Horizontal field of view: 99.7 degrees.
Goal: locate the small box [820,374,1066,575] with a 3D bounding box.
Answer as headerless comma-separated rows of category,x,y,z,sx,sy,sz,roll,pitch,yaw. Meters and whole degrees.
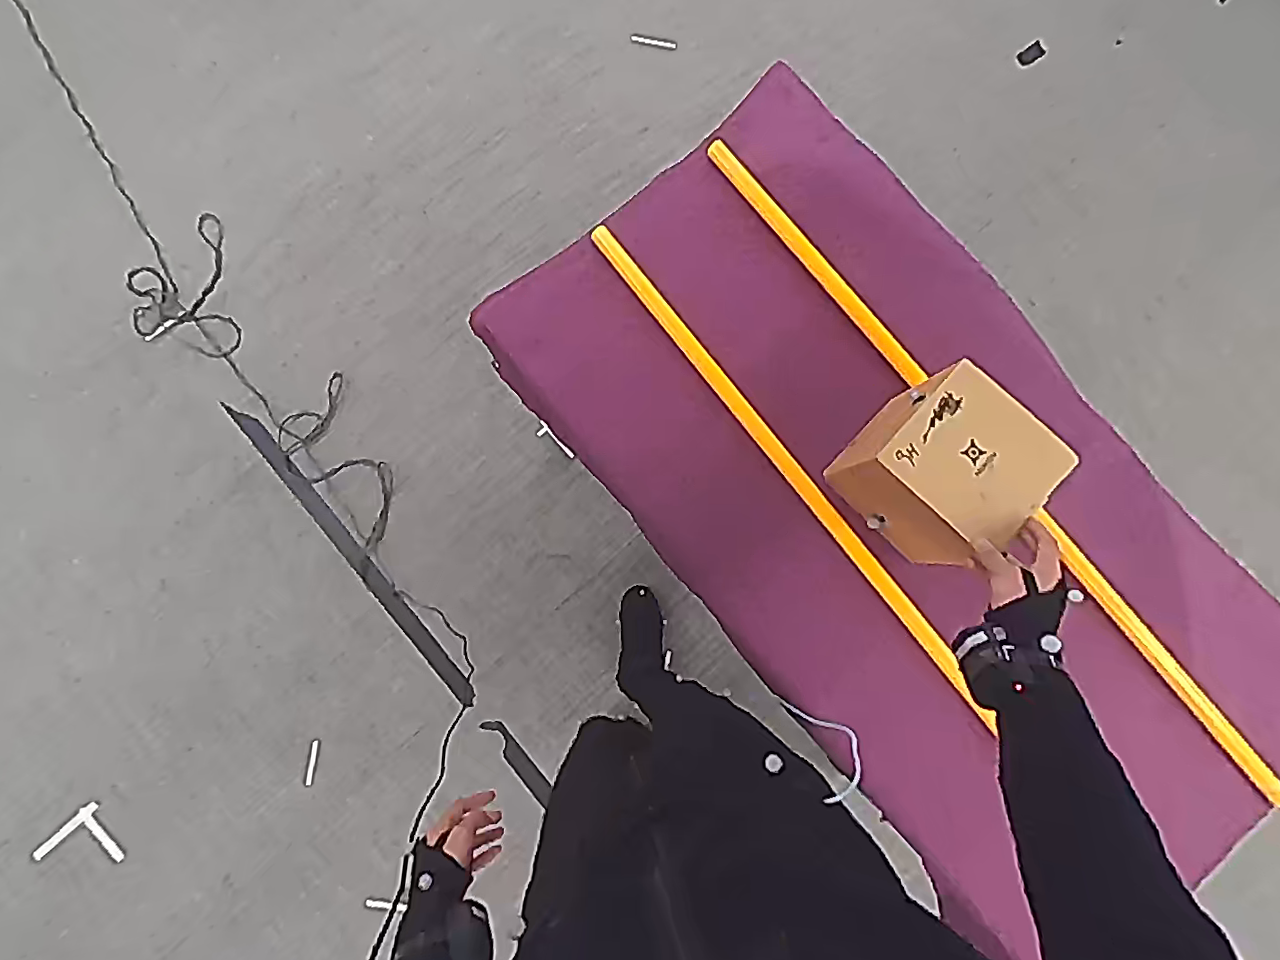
small box,0.370,-0.002,0.695,0.179,0.176,0.168,44,84,3
